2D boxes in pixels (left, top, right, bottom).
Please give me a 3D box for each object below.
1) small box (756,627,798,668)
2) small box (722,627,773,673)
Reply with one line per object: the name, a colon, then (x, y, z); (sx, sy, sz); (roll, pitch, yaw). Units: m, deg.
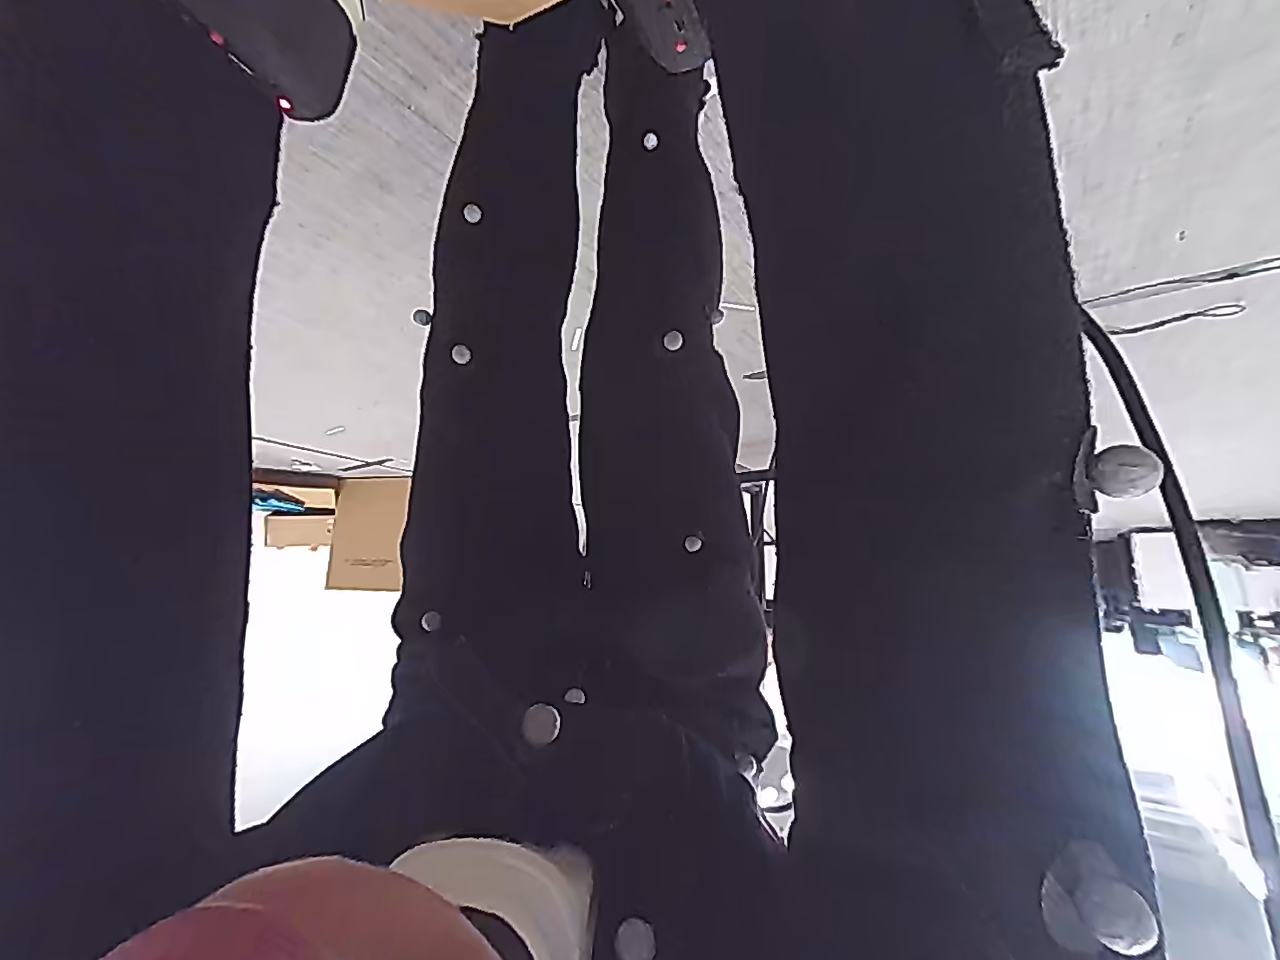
small box: (0.619, 0.768, 2.495); (0.179, 0.176, 0.168); (-7, 164, 36)
small box: (0.463, 0.726, 2.323); (0.179, 0.176, 0.168); (-6, 167, 30)
